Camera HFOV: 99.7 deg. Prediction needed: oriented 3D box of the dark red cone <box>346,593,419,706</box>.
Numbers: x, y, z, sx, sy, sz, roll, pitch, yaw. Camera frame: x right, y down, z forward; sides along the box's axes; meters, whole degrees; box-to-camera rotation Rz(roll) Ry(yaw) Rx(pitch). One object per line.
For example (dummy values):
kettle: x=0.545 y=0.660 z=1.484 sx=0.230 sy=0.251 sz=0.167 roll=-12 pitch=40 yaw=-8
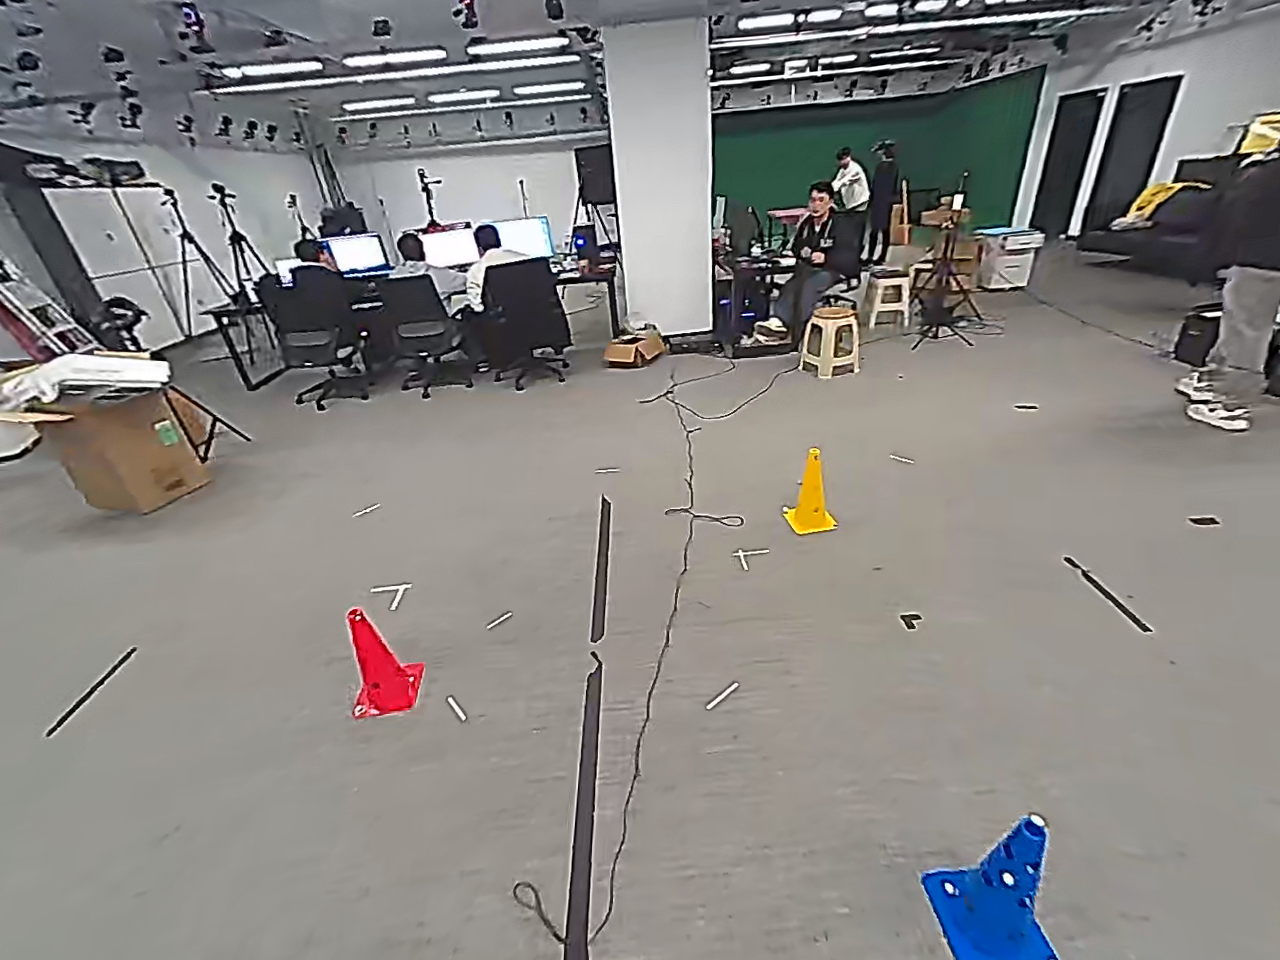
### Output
dark red cone: x=-0.865 y=0.527 z=1.734 sx=0.201 sy=0.394 sz=0.202 roll=-8 pitch=29 yaw=-6

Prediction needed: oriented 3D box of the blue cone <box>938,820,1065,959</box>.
blue cone: x=0.737 y=0.786 z=1.053 sx=0.192 sy=0.380 sz=0.193 roll=-4 pitch=29 yaw=1
